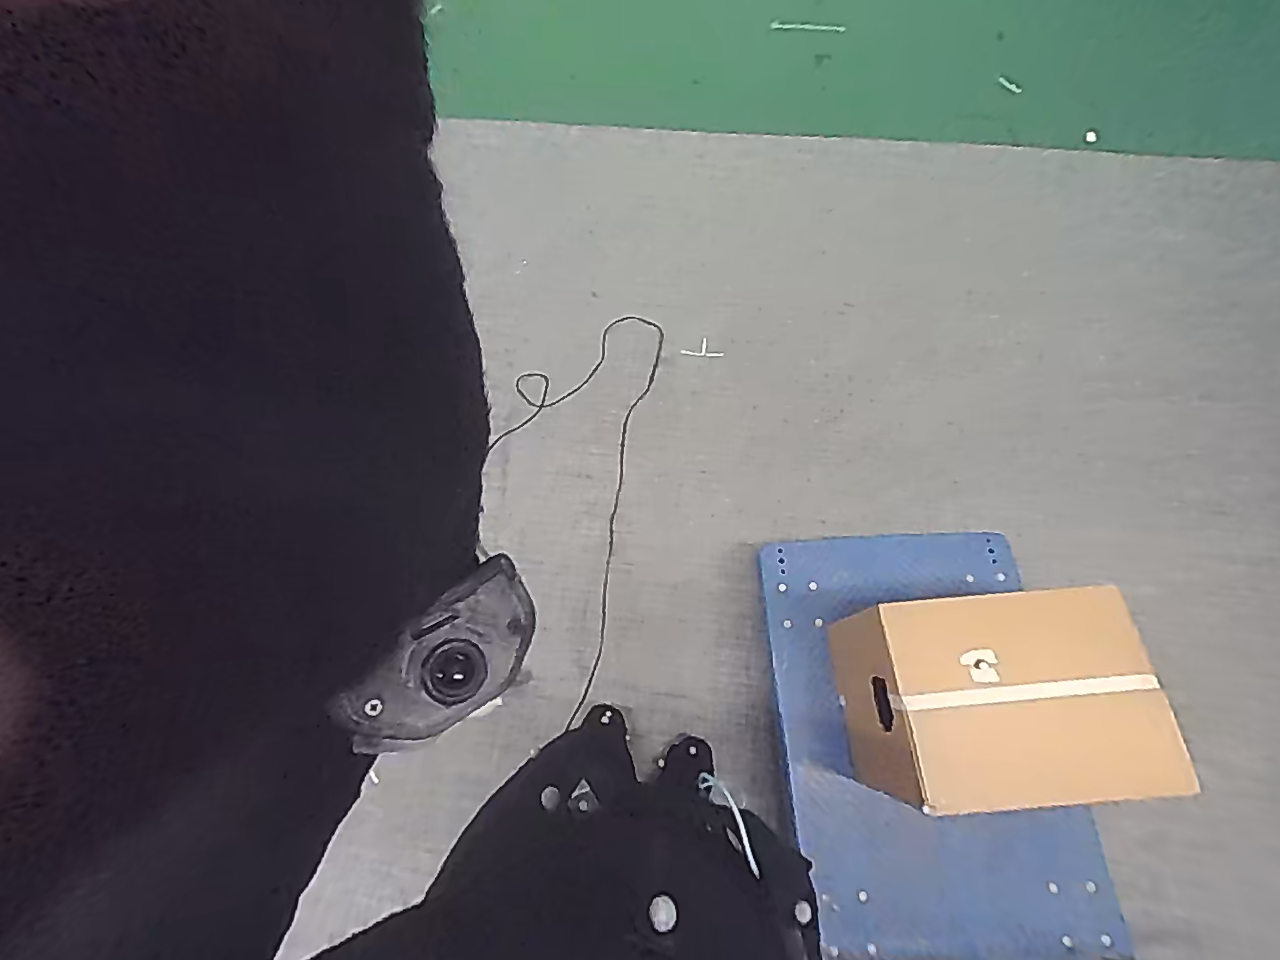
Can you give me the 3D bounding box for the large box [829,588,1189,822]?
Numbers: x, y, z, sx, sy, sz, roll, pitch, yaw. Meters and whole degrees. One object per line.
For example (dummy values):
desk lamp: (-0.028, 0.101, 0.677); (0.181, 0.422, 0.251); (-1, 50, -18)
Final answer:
large box: (0.617, 0.401, 0.997); (0.408, 0.320, 0.320); (-6, 67, 0)
